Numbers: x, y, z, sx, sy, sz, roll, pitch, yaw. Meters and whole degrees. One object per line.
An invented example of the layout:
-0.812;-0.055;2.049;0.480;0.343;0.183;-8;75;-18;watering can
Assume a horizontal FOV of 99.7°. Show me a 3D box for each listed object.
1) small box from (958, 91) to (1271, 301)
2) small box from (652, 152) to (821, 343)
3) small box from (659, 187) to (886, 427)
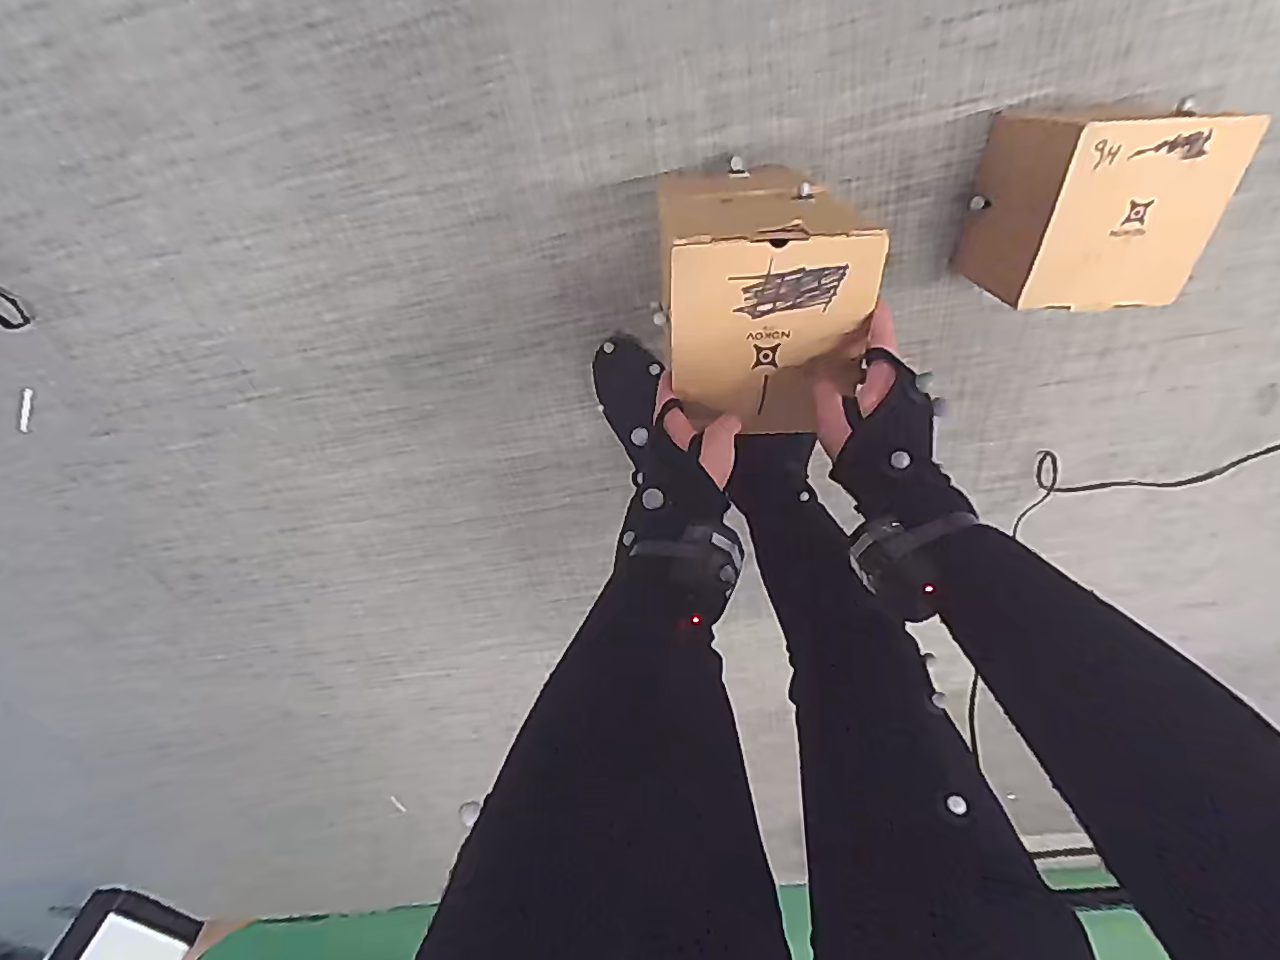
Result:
0.485;-0.315;0.597;0.168;0.176;0.179;0;129;2;small box
0.101;-0.273;0.640;0.168;0.176;0.179;-4;126;3;small box
0.104;-0.169;0.513;0.168;0.176;0.179;-2;129;2;small box
